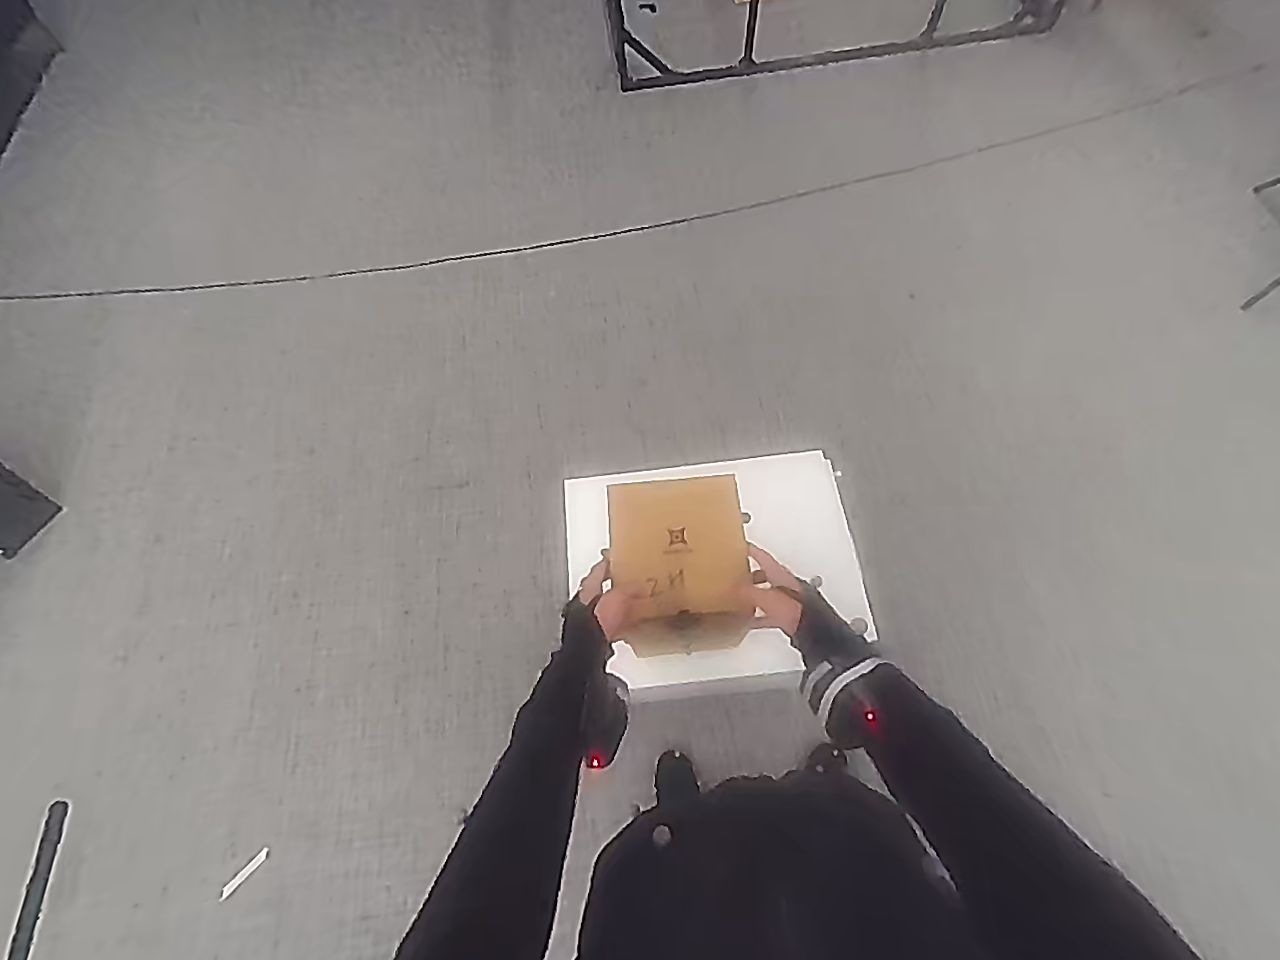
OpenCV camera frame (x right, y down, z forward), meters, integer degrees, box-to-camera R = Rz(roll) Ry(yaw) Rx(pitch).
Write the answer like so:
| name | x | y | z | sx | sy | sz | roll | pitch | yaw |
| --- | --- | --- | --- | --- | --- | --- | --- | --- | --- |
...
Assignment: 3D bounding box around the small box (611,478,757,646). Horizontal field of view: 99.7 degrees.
| name | x | y | z | sx | sy | sz | roll | pitch | yaw |
| --- | --- | --- | --- | --- | --- | --- | --- | --- | --- |
| small box | 0.052 | 0.115 | 0.719 | 0.168 | 0.176 | 0.179 | -5 | 65 | 2 |
